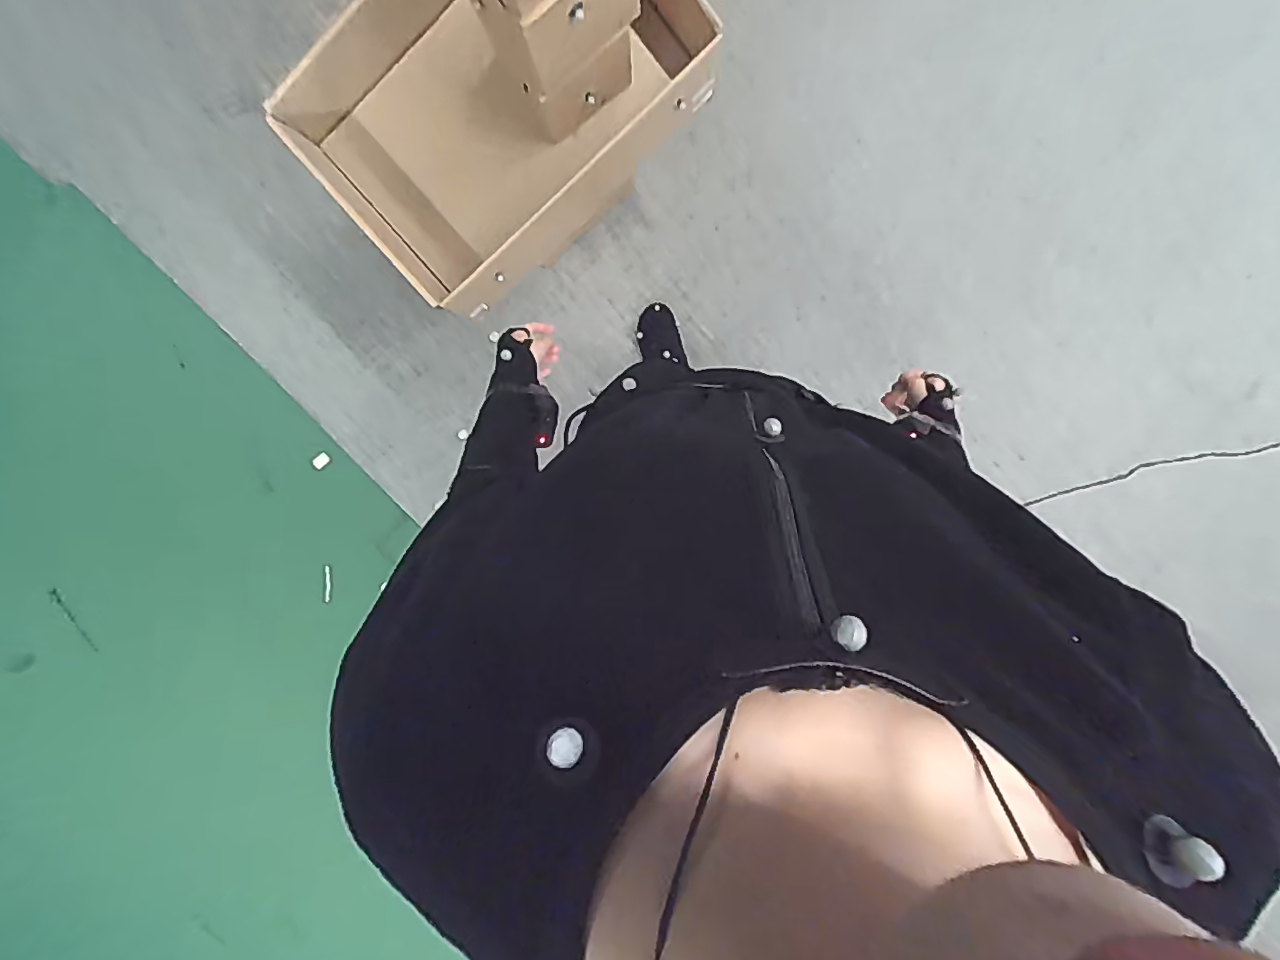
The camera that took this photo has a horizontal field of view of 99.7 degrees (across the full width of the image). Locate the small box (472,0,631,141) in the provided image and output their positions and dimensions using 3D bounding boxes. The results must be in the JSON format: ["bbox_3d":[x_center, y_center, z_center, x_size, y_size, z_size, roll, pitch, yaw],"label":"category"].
[{"bbox_3d":[-0.125,-0.678,0.855,0.168,0.176,0.179,-35,99,7],"label":"small box"}]

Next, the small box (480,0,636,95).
[{"bbox_3d":[-0.116,-0.651,0.693,0.179,0.176,0.168,-36,99,7],"label":"small box"}]

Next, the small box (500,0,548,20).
[{"bbox_3d":[-0.120,-0.629,0.531,0.179,0.176,0.168,-37,98,8],"label":"small box"}]
